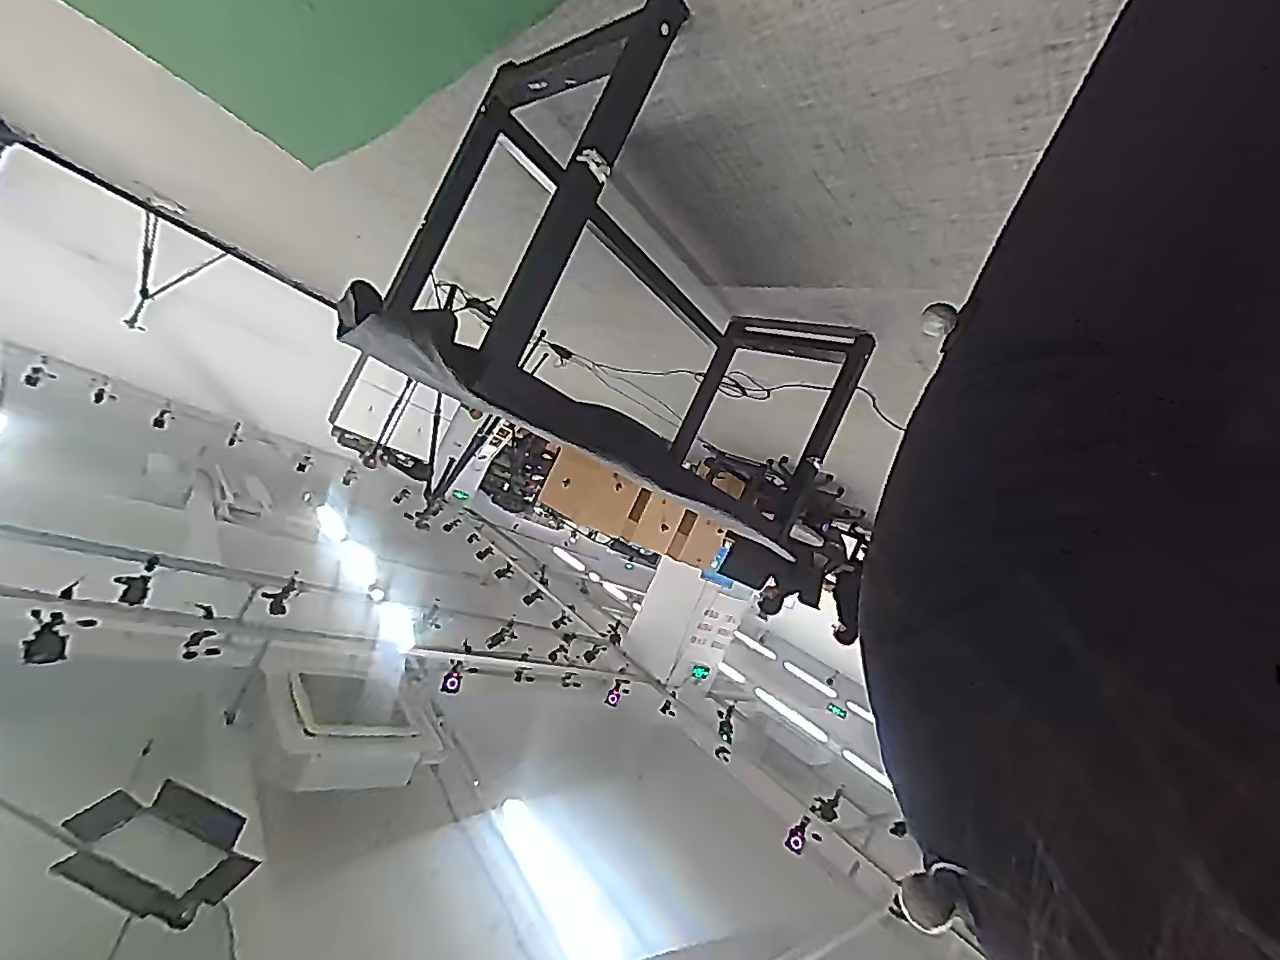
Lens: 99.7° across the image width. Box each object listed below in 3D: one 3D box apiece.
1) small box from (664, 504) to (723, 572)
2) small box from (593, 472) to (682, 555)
[{"bbox_3d":[0.143,0.171,1.734,0.168,0.176,0.179,28,178,-42],"label":"small box"},{"bbox_3d":[0.001,0.093,1.562,0.179,0.176,0.168,24,177,44],"label":"small box"}]
